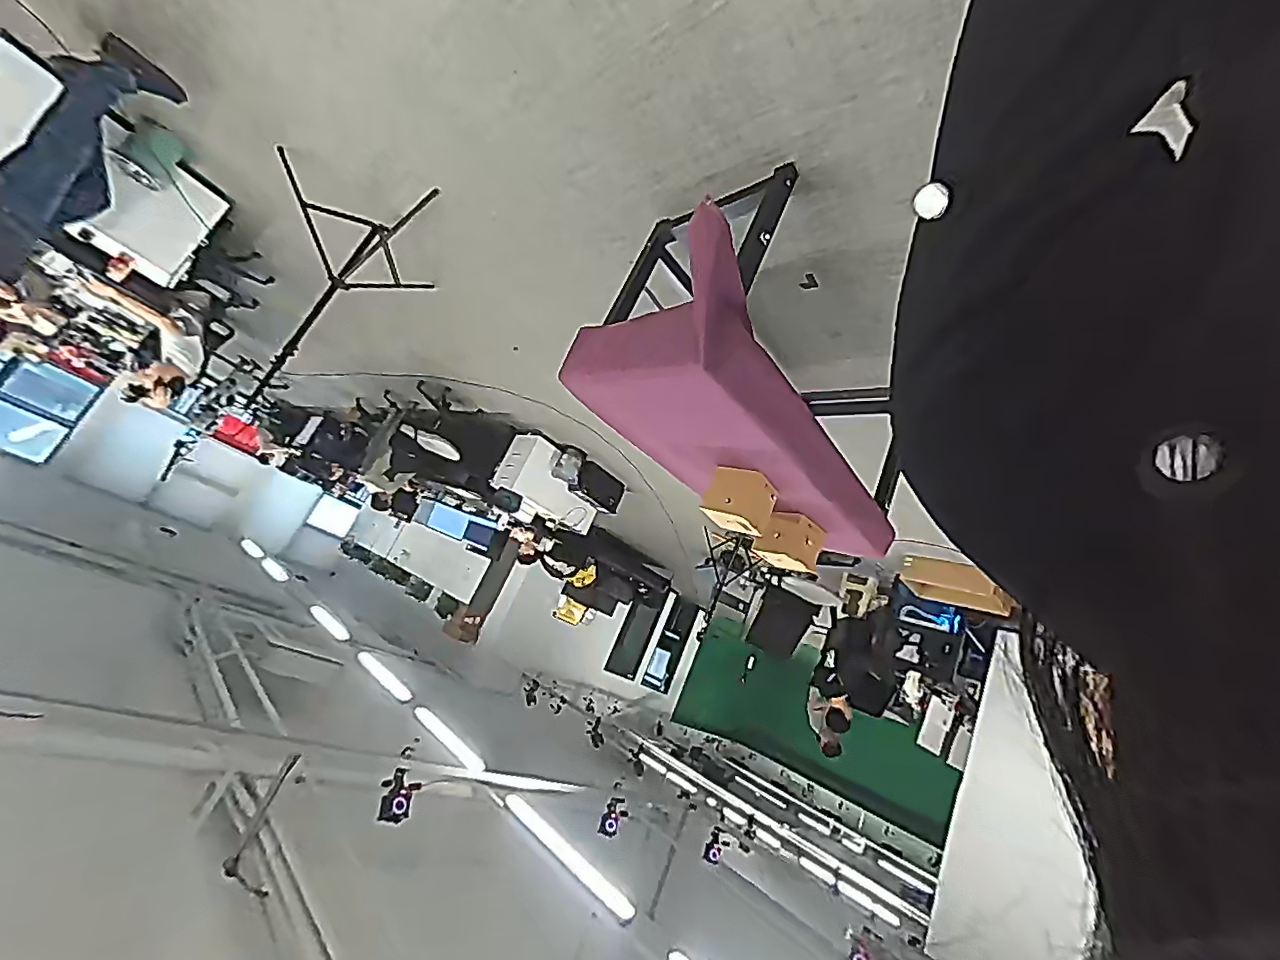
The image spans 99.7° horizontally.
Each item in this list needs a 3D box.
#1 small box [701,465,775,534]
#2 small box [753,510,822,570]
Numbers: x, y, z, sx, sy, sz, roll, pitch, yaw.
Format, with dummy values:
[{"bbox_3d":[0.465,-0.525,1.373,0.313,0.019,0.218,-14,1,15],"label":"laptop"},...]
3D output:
[{"bbox_3d":[0.341,0.061,1.836,0.179,0.176,0.168,11,159,42],"label":"small box"},{"bbox_3d":[0.561,0.220,2.023,0.168,0.176,0.179,34,161,-30],"label":"small box"}]
